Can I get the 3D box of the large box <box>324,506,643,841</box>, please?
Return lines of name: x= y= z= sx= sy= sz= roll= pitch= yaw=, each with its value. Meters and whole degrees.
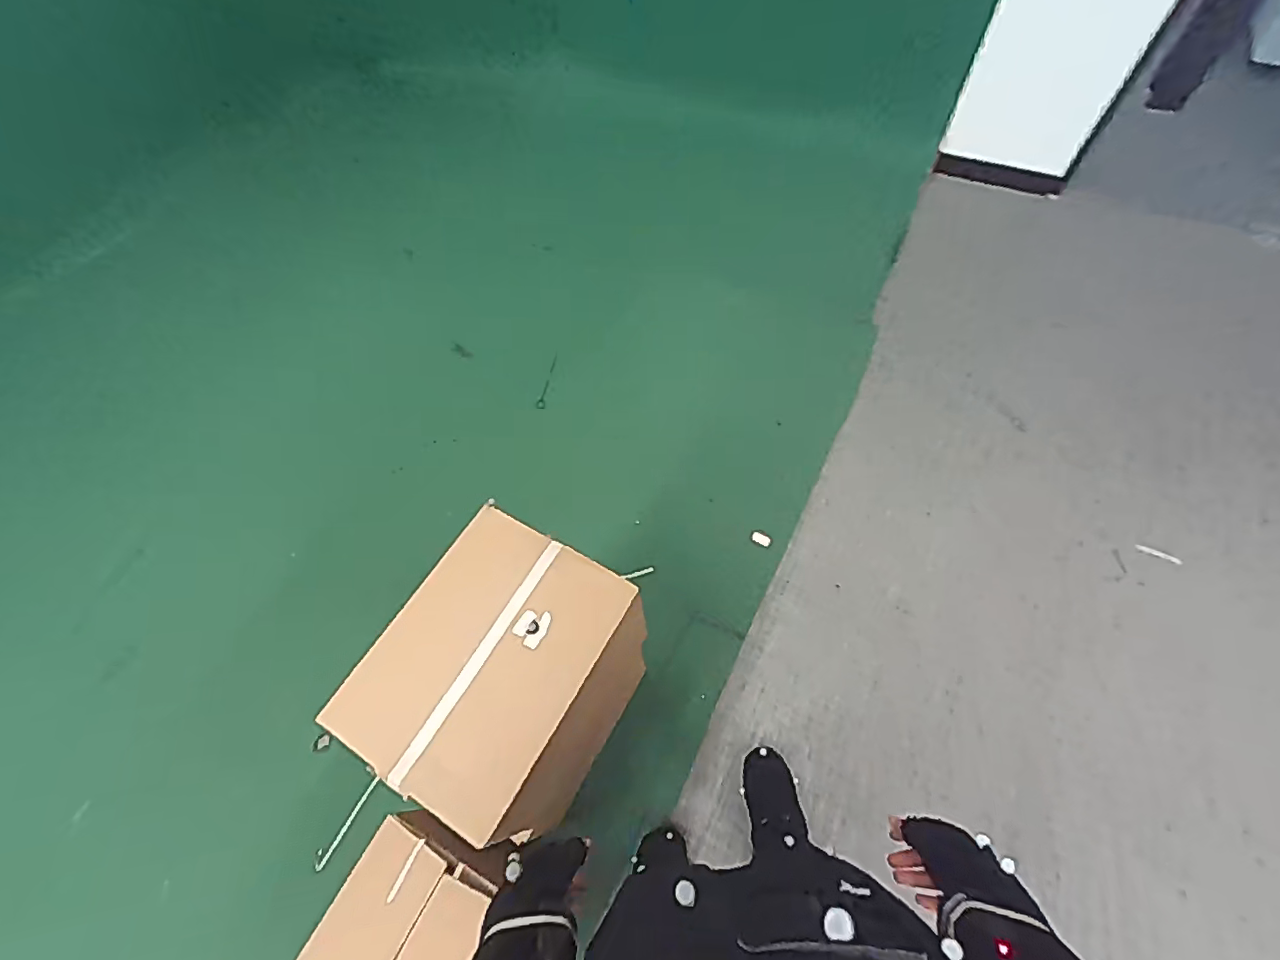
large box: x=-0.227 y=0.332 z=0.946 sx=0.320 sy=0.320 sz=0.408 roll=27 pitch=65 yaw=16
